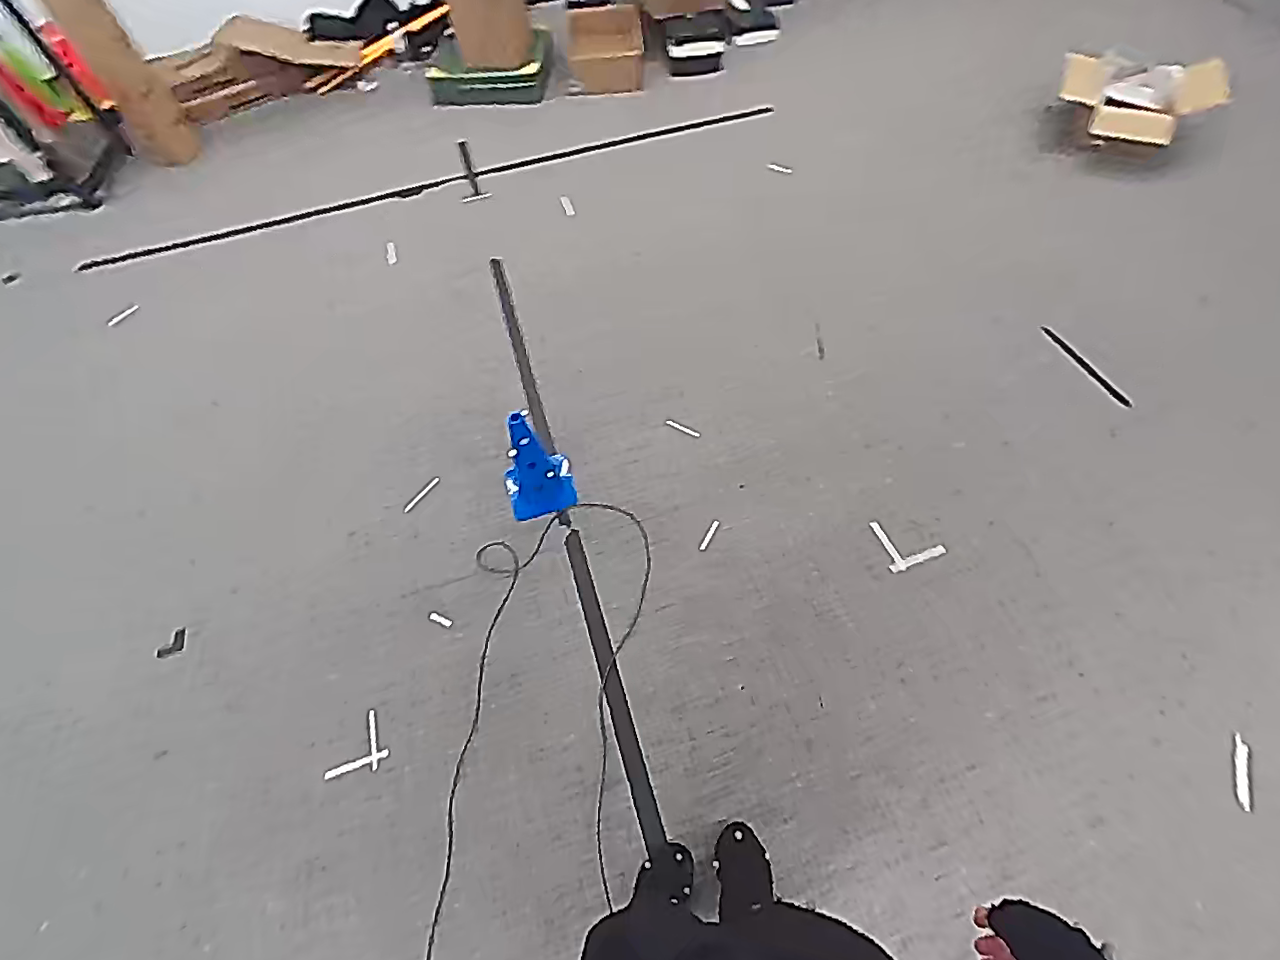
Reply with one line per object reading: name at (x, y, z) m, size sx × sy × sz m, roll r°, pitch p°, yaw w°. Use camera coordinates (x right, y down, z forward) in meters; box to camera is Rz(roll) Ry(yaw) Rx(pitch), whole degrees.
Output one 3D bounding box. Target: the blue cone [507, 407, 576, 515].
blue cone at (-0.311, -0.071, 1.529) m, size 0.193 × 0.380 × 0.192 m, roll -18°, pitch 60°, yaw -7°
